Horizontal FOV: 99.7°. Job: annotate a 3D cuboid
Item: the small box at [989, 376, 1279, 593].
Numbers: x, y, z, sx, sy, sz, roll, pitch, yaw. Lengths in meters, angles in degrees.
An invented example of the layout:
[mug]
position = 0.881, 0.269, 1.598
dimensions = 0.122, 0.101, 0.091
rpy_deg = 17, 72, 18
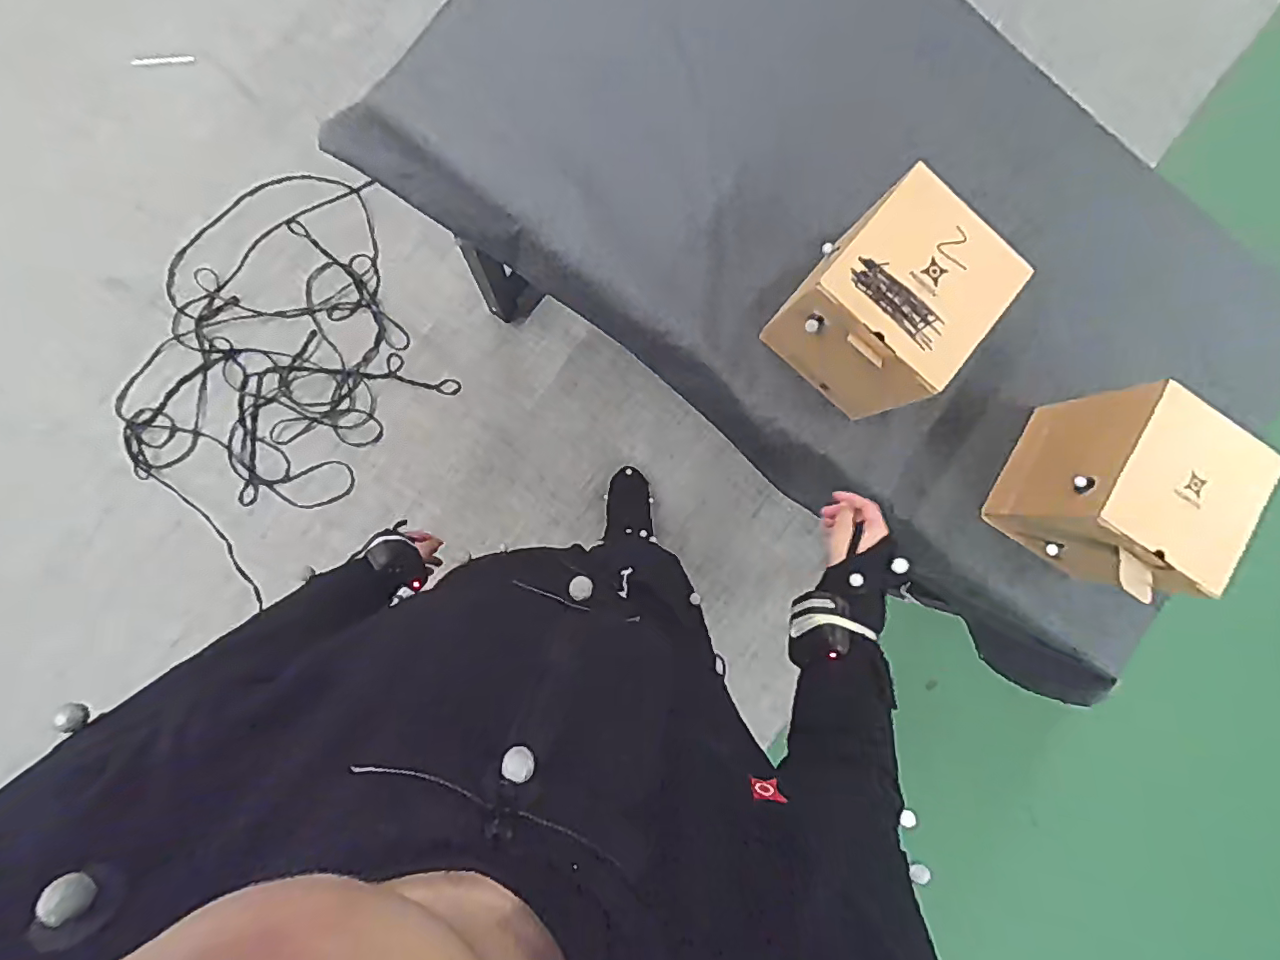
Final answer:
[small box]
position = 0.570, 0.006, 0.646
dimensions = 0.168, 0.176, 0.179
rpy_deg = 32, 85, -5
